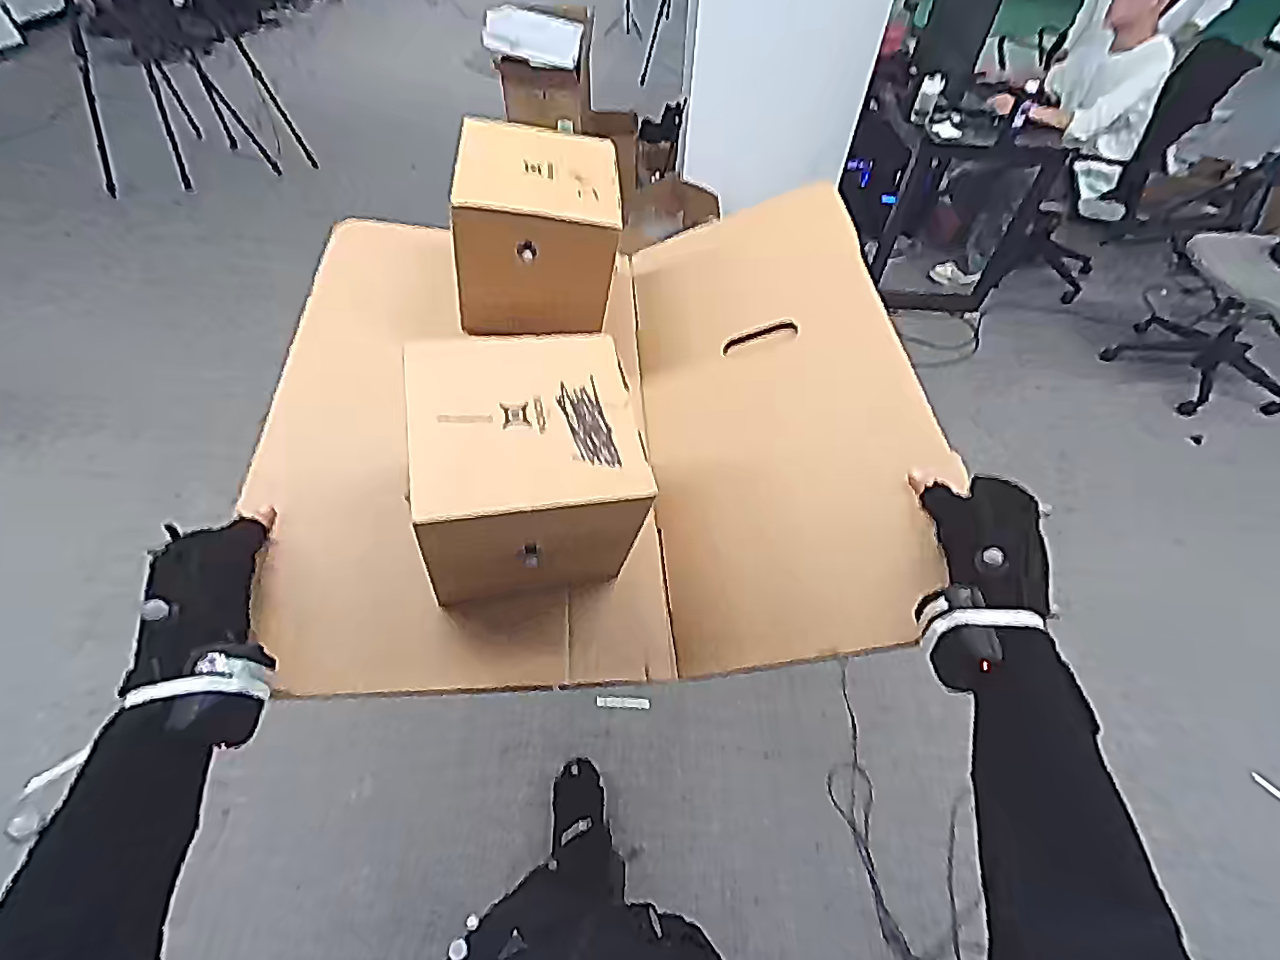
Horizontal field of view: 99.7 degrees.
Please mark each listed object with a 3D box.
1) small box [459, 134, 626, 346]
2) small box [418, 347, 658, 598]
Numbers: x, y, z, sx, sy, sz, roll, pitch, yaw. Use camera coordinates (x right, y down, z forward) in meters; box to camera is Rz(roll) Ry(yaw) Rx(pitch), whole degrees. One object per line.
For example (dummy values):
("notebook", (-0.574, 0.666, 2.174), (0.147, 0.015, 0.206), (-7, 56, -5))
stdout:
("small box", (-0.119, -0.288, 0.672), (0.179, 0.176, 0.168), (4, 58, -12))
("small box", (-0.101, -0.003, 0.501), (0.179, 0.176, 0.168), (-6, 61, -16))
